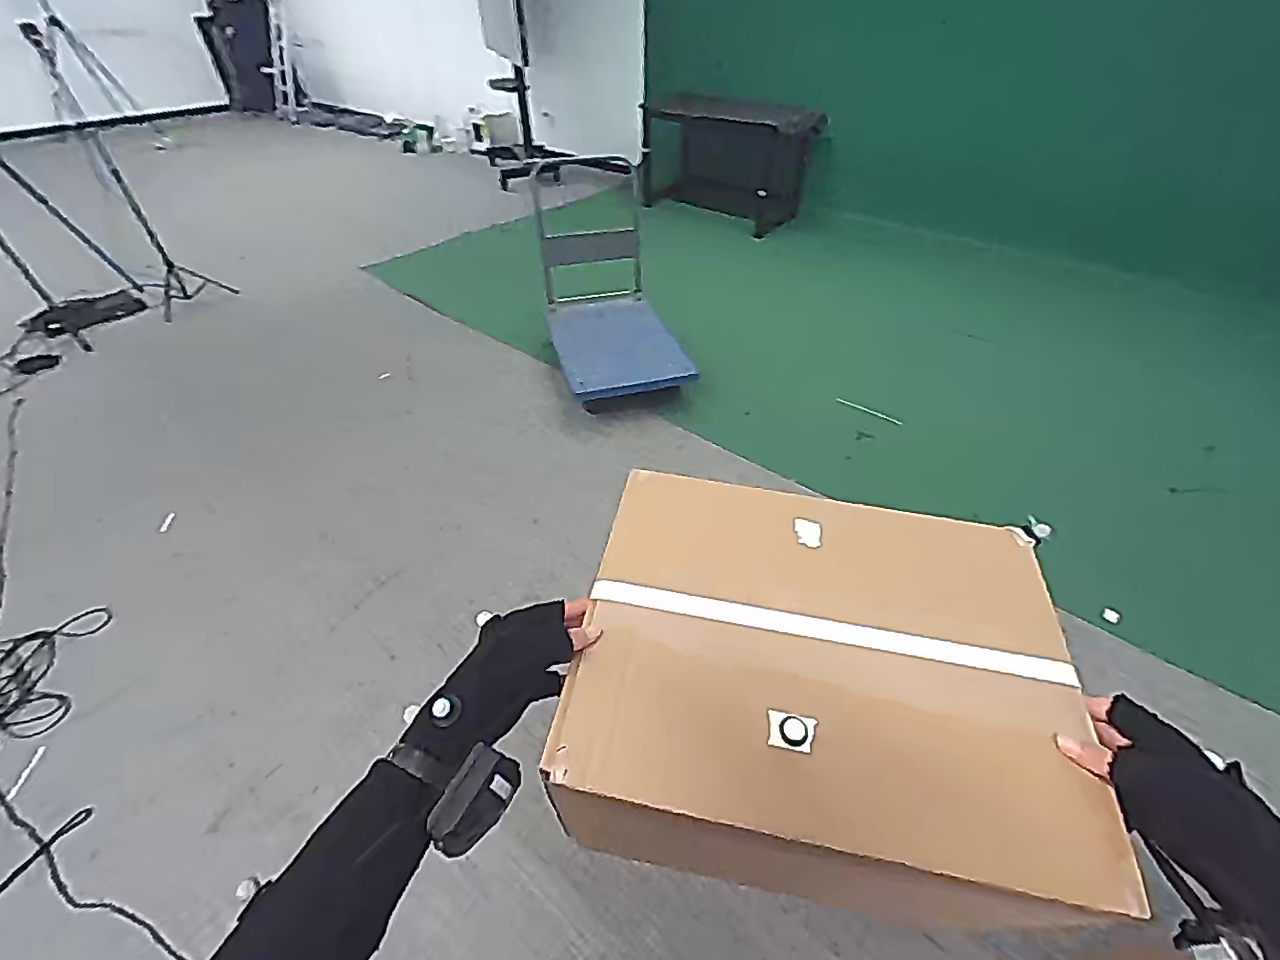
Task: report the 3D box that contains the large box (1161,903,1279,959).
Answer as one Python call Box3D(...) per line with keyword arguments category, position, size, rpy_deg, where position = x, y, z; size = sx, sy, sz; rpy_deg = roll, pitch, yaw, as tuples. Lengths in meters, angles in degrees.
Box3D(category="large box", position=(0.858, 0.806, 0.614), size=(0.320, 0.320, 0.408), rpy_deg=(28, 51, 29))
